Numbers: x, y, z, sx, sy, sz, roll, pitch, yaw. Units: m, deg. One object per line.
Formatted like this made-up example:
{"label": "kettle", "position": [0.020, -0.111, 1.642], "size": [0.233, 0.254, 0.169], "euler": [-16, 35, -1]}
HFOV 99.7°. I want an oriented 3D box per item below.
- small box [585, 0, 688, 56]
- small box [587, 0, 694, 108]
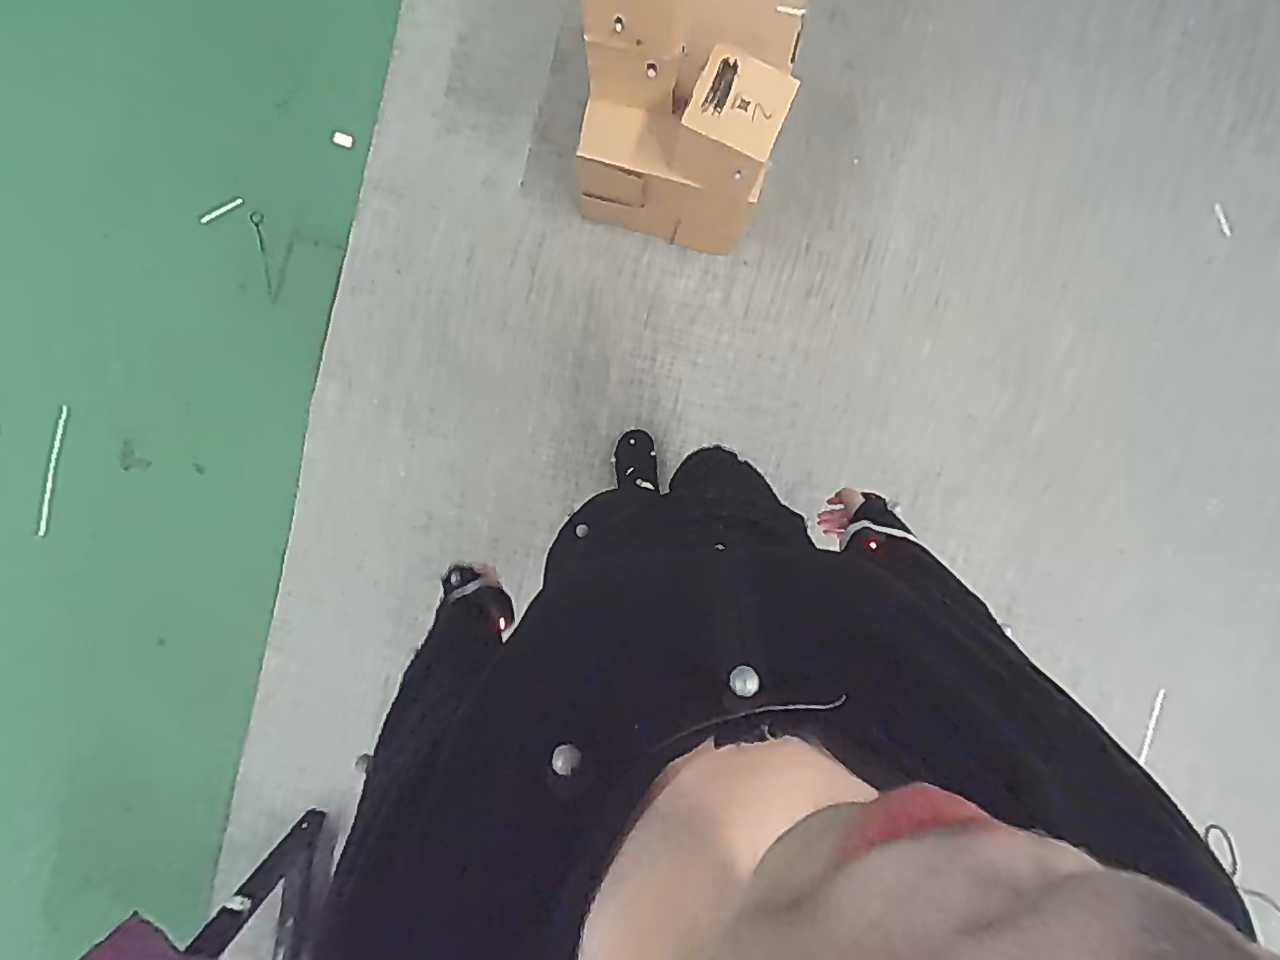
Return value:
{"label": "small box", "position": [0.003, -0.866, 0.894], "size": [0.168, 0.176, 0.179], "euler": [14, 92, -1]}
{"label": "small box", "position": [0.004, -0.871, 1.056], "size": [0.179, 0.176, 0.168], "euler": [12, 91, -1]}
